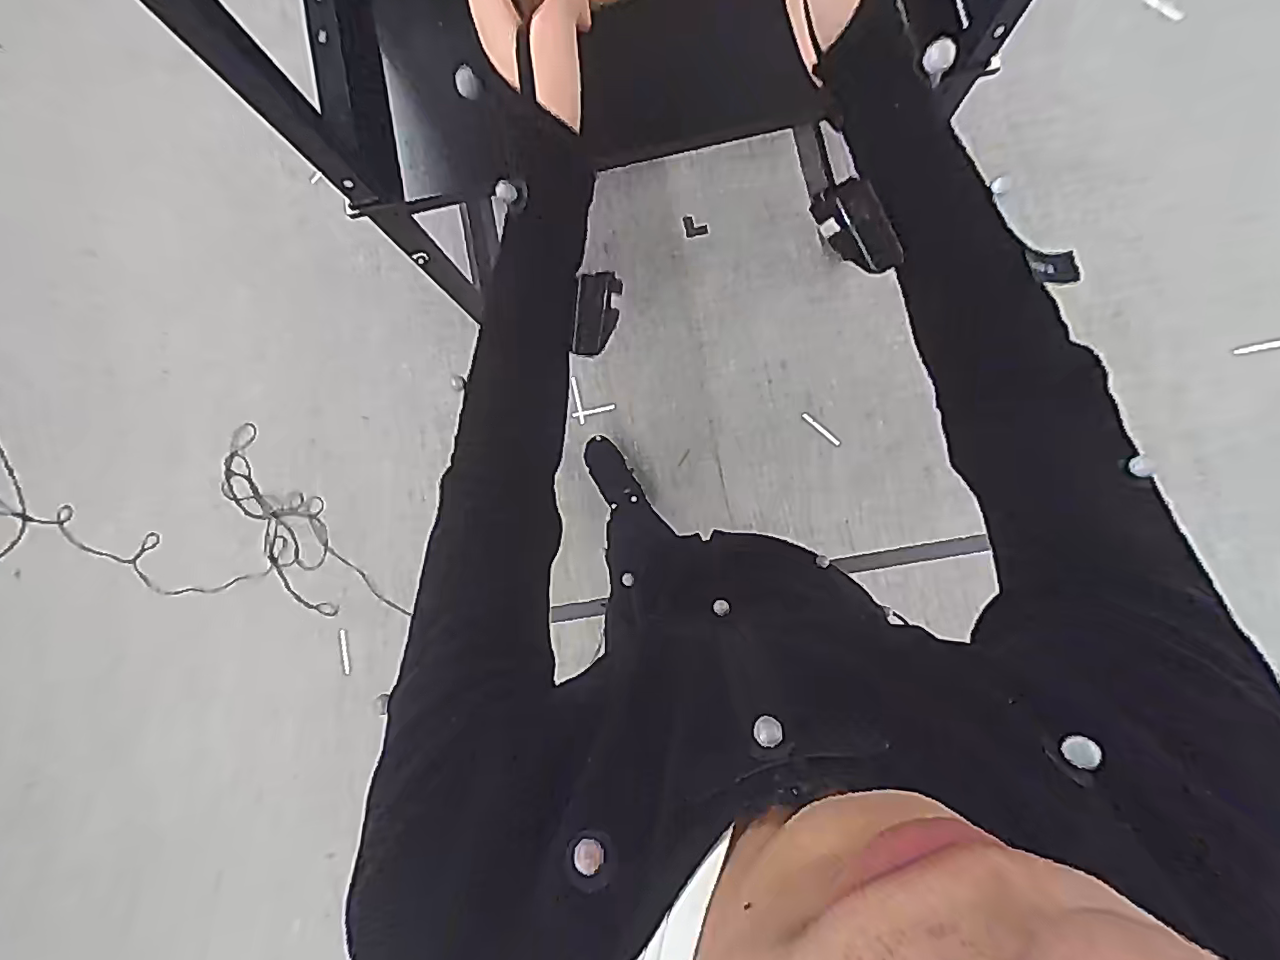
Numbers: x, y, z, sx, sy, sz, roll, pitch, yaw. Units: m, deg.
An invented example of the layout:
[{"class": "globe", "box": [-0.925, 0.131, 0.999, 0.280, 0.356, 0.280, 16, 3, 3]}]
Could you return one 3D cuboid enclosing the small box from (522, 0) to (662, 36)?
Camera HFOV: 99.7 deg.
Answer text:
[{"class": "small box", "box": [-0.025, -0.403, 0.287, 0.168, 0.176, 0.179, -15, 92, 6]}]
